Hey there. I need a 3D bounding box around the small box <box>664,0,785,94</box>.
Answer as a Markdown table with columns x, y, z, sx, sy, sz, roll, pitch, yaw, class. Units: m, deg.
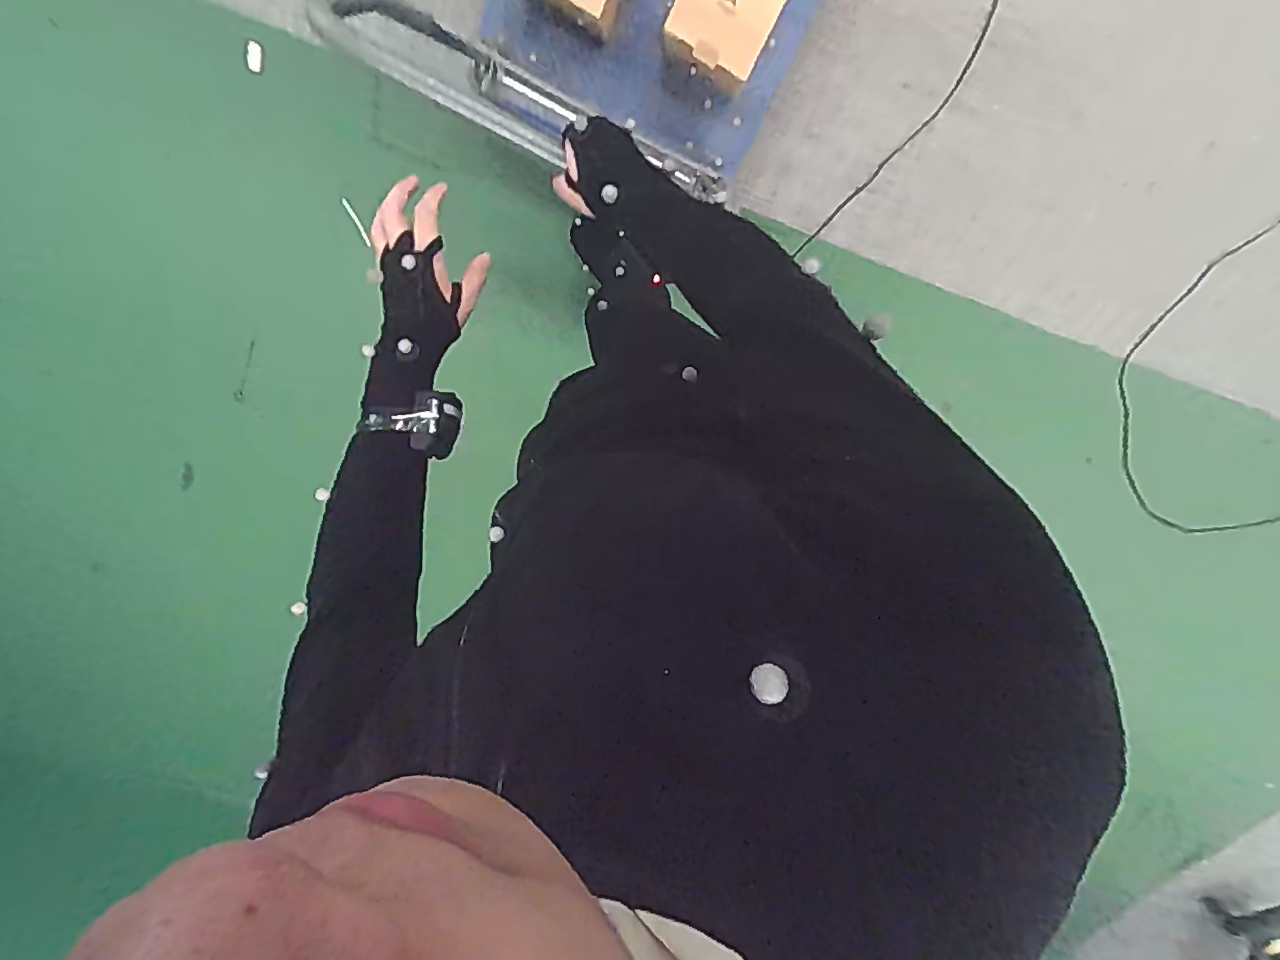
| x | y | z | sx | sy | sz | roll | pitch | yaw | class |
| --- | --- | --- | --- | --- | --- | --- | --- | --- | --- |
| 0.150 | -0.833 | 0.965 | 0.168 | 0.176 | 0.179 | 25 | 117 | -11 | small box |
